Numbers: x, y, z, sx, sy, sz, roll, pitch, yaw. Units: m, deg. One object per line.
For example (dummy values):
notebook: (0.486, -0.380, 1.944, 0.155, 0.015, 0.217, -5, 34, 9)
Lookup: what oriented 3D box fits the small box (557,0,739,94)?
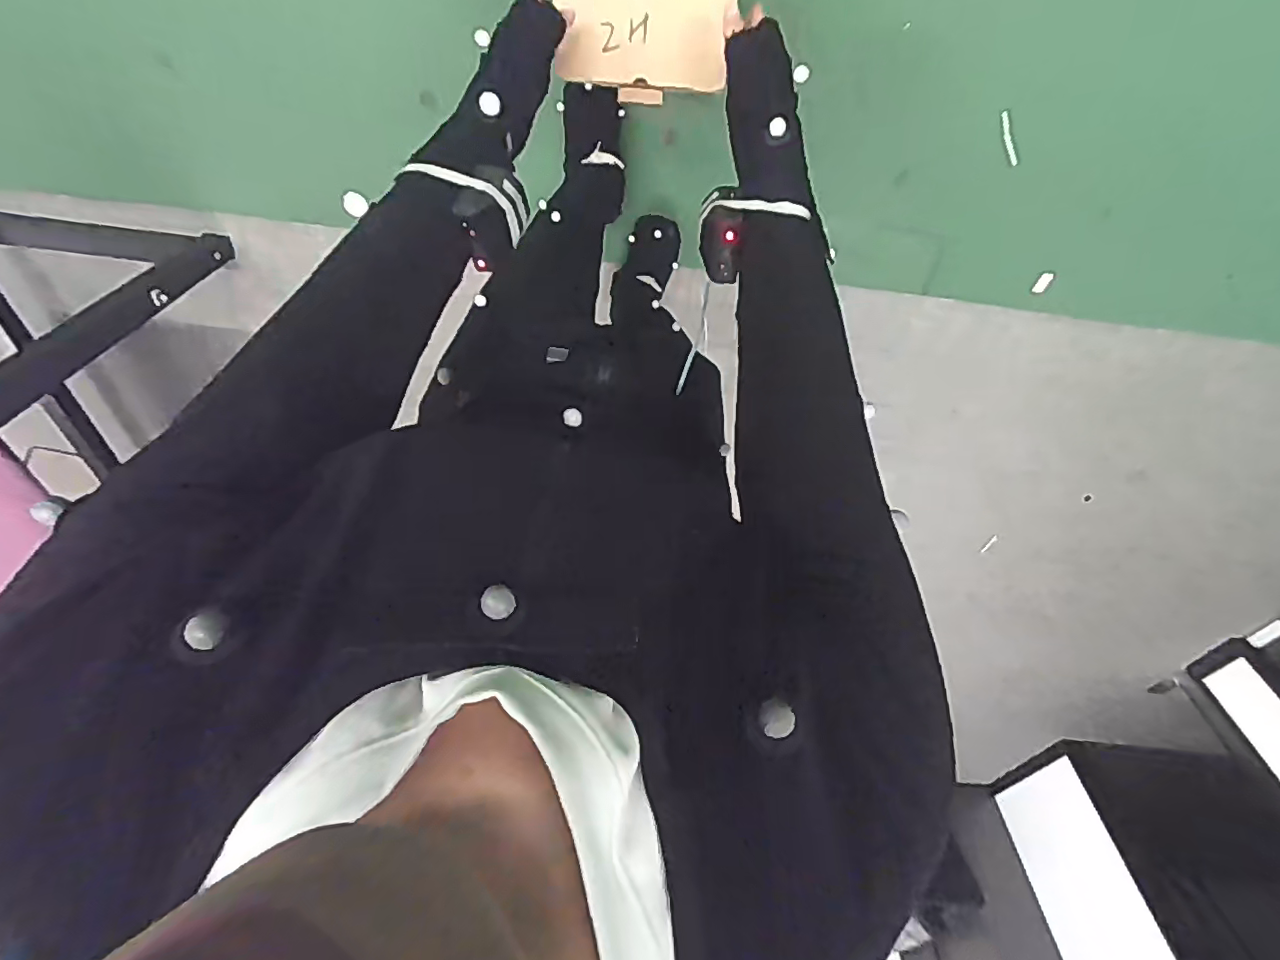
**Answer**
small box: (0.008, -0.502, 0.527, 0.168, 0.176, 0.179, 3, 133, -2)
